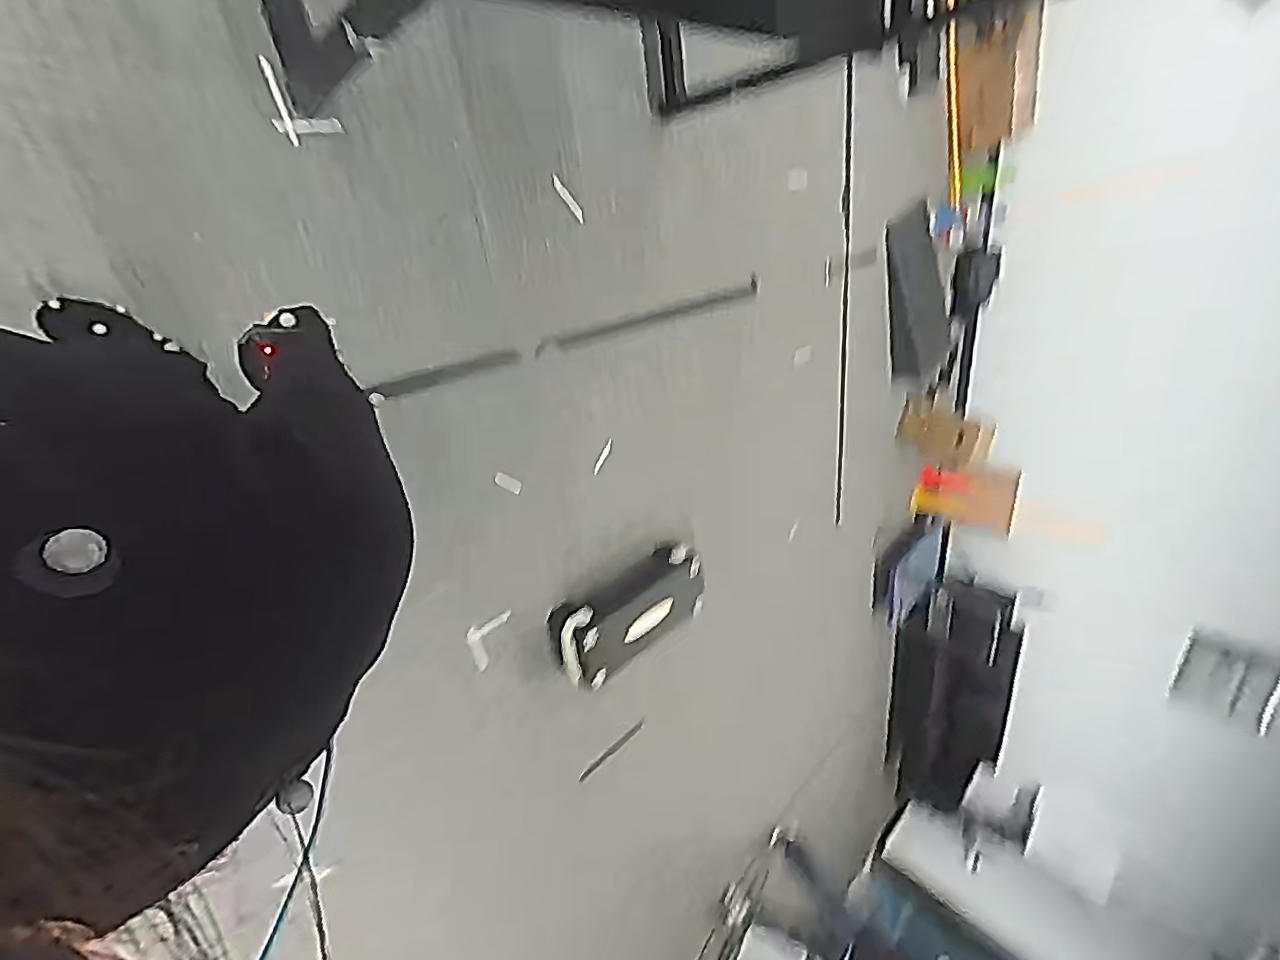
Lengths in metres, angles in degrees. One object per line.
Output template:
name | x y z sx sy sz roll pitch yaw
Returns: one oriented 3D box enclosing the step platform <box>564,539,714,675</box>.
step platform | 0.024 0.495 2.206 0.684 0.204 0.286 -23 118 -38
